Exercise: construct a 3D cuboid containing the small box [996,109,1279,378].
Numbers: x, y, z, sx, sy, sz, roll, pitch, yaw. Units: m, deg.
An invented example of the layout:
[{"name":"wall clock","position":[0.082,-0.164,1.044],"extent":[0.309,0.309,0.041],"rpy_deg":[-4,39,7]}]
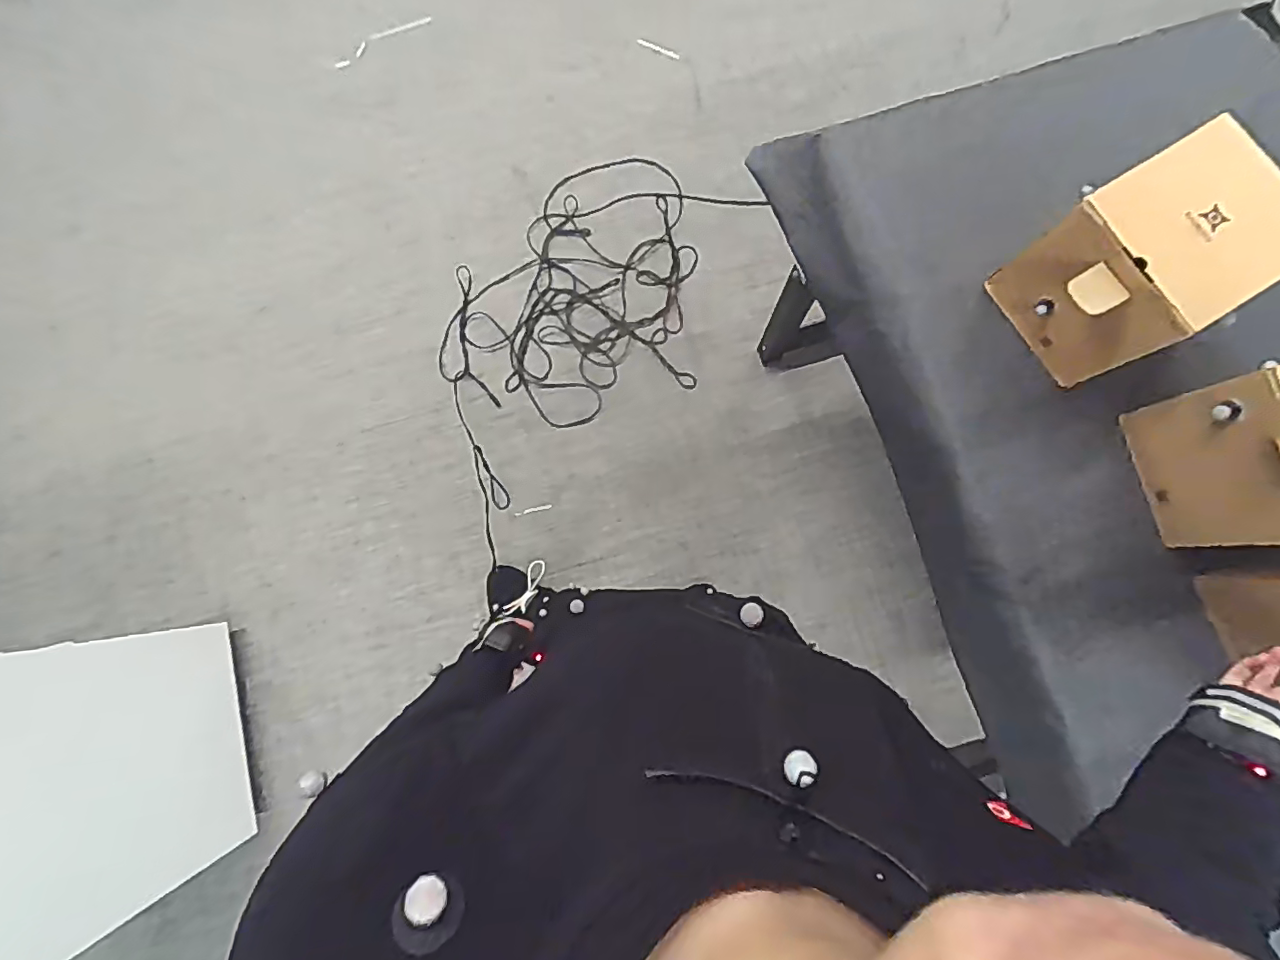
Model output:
[{"name":"small box","position":[0.551,-0.241,0.593],"extent":[0.179,0.176,0.168],"rpy_deg":[-32,82,-2]}]
